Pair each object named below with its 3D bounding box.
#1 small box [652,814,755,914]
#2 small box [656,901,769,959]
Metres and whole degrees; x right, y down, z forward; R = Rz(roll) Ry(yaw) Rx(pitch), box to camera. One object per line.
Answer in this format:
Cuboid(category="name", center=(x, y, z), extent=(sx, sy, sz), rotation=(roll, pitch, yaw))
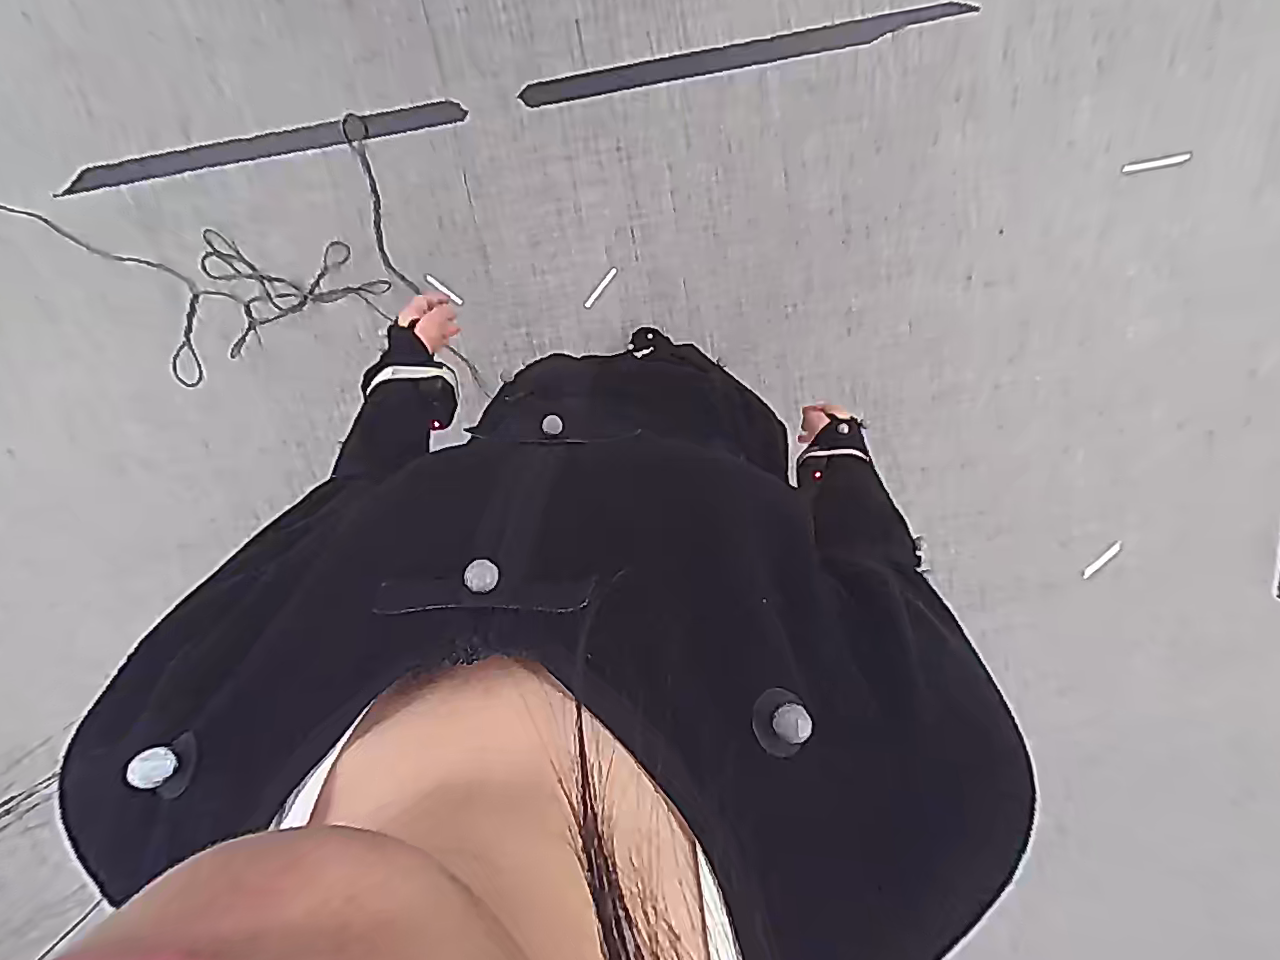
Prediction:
Cuboid(category="small box", center=(0.111, 0.734, 0.974), extent=(0.168, 0.176, 0.179), rotation=(-5, 104, 2))
Cuboid(category="small box", center=(0.113, 0.775, 0.814), extent=(0.168, 0.176, 0.179), rotation=(-6, 105, 2))
